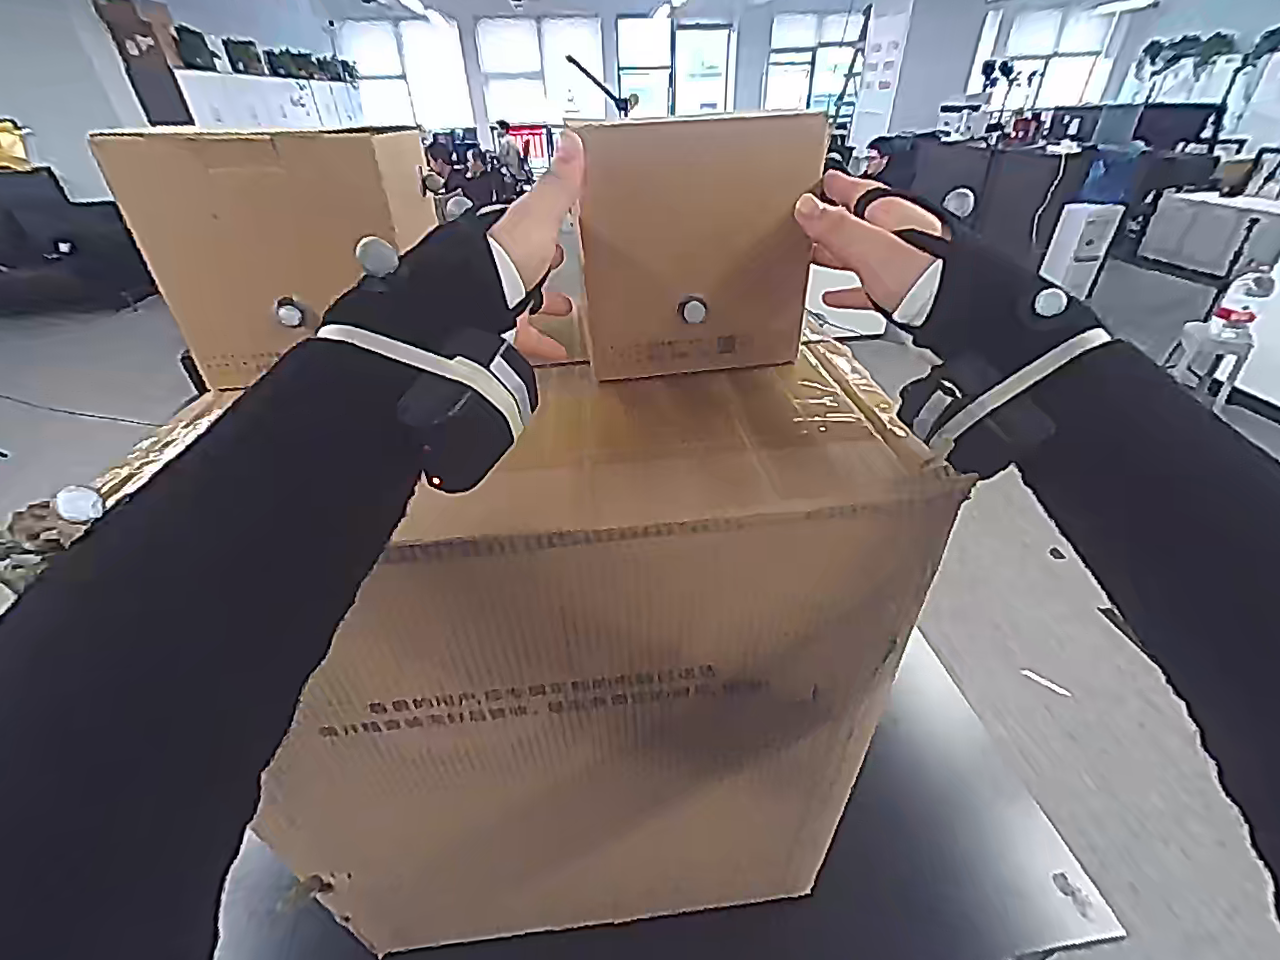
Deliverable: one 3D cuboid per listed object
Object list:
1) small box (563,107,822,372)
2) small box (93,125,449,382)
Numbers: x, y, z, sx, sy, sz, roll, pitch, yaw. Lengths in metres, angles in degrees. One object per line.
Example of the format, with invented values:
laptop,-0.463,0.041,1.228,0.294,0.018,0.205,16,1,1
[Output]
small box,0.027,-0.201,0.447,0.168,0.176,0.179,-7,34,-5
small box,-0.265,-0.193,0.450,0.168,0.176,0.179,-6,34,-7
